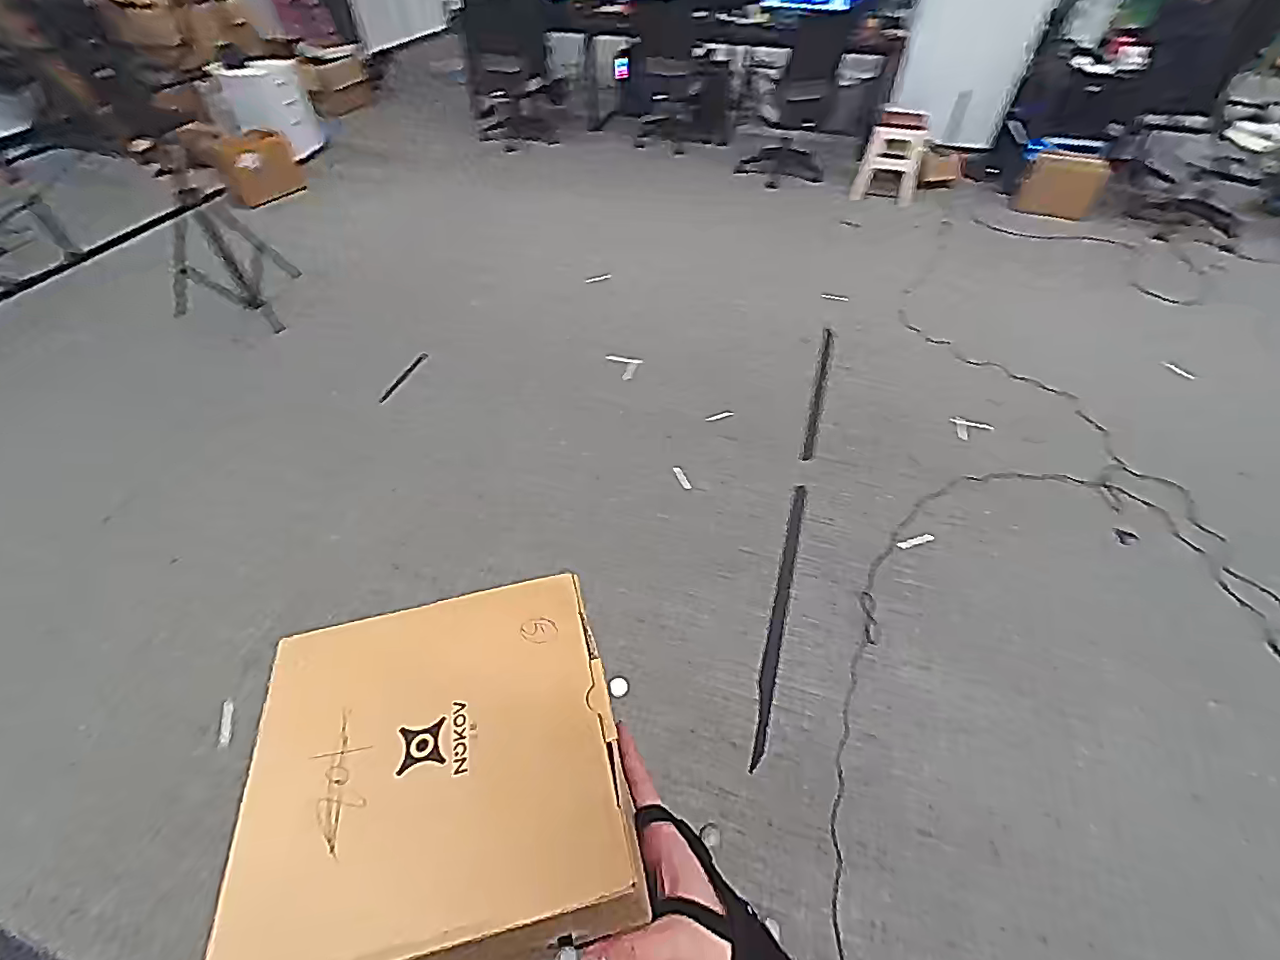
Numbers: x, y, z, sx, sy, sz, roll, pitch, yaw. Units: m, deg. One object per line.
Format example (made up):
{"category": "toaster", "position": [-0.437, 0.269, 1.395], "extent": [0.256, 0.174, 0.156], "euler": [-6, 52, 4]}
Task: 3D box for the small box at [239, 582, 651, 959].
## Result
{"category": "small box", "position": [-0.094, 0.193, 0.339], "extent": [0.179, 0.176, 0.168], "euler": [-12, 45, -7]}
